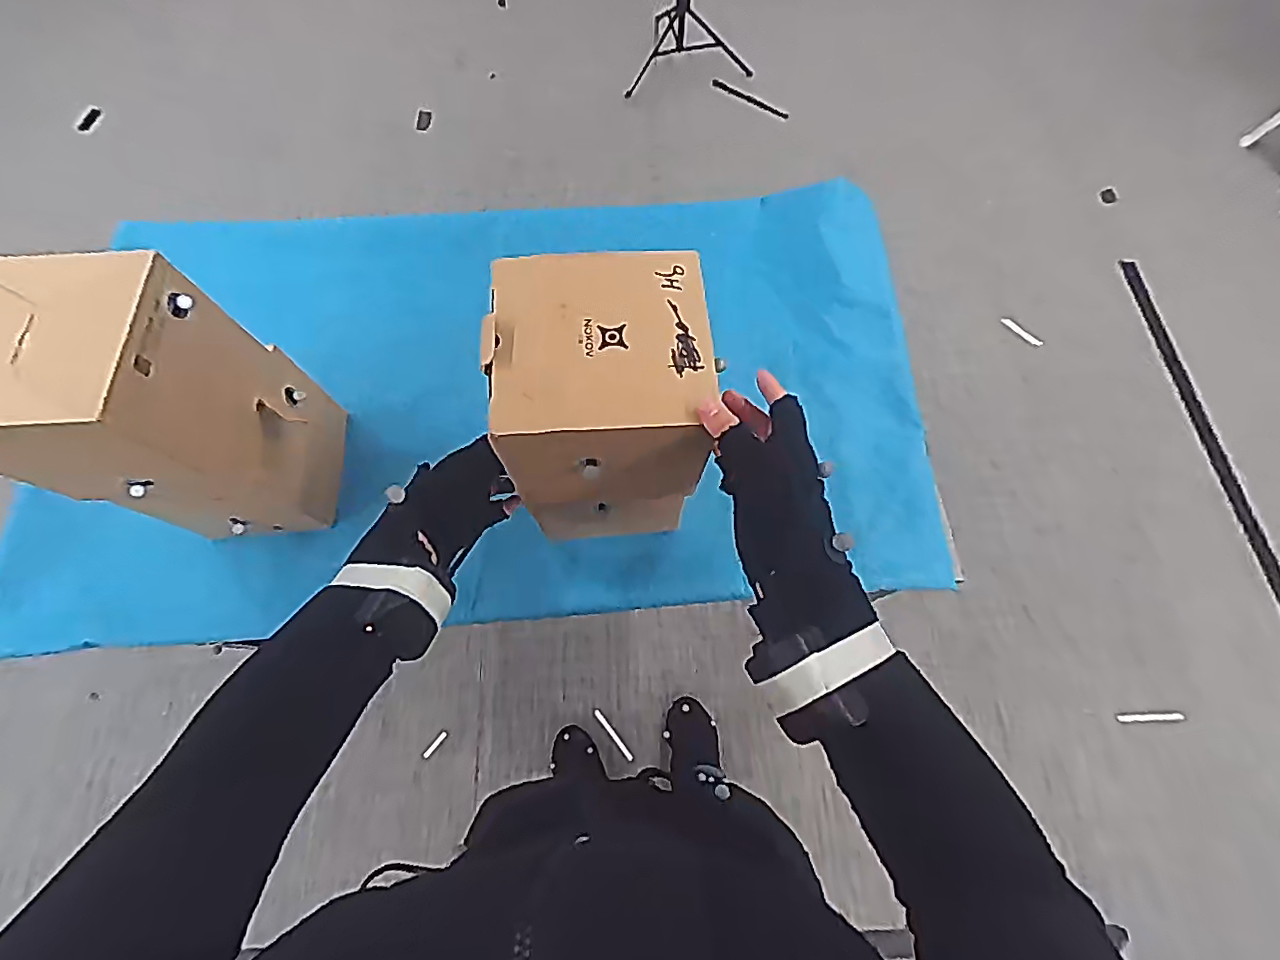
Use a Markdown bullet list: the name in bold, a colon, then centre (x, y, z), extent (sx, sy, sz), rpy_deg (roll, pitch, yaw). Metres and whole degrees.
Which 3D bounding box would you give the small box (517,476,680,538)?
- **small box**: centre (-0.042, -0.030, 0.659), extent (0.179, 0.176, 0.168), rpy_deg (-4, 70, 0)

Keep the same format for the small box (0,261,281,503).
- **small box**: centre (-0.491, -0.085, 0.512), extent (0.179, 0.176, 0.168), rpy_deg (-2, 69, 0)

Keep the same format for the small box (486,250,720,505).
- **small box**: centre (-0.035, -0.083, 0.503), extent (0.179, 0.176, 0.168), rpy_deg (-6, 70, -4)

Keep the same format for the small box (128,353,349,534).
- **small box**: centre (-0.492, -0.037, 0.673), extent (0.168, 0.176, 0.179), rpy_deg (-2, 71, 2)
